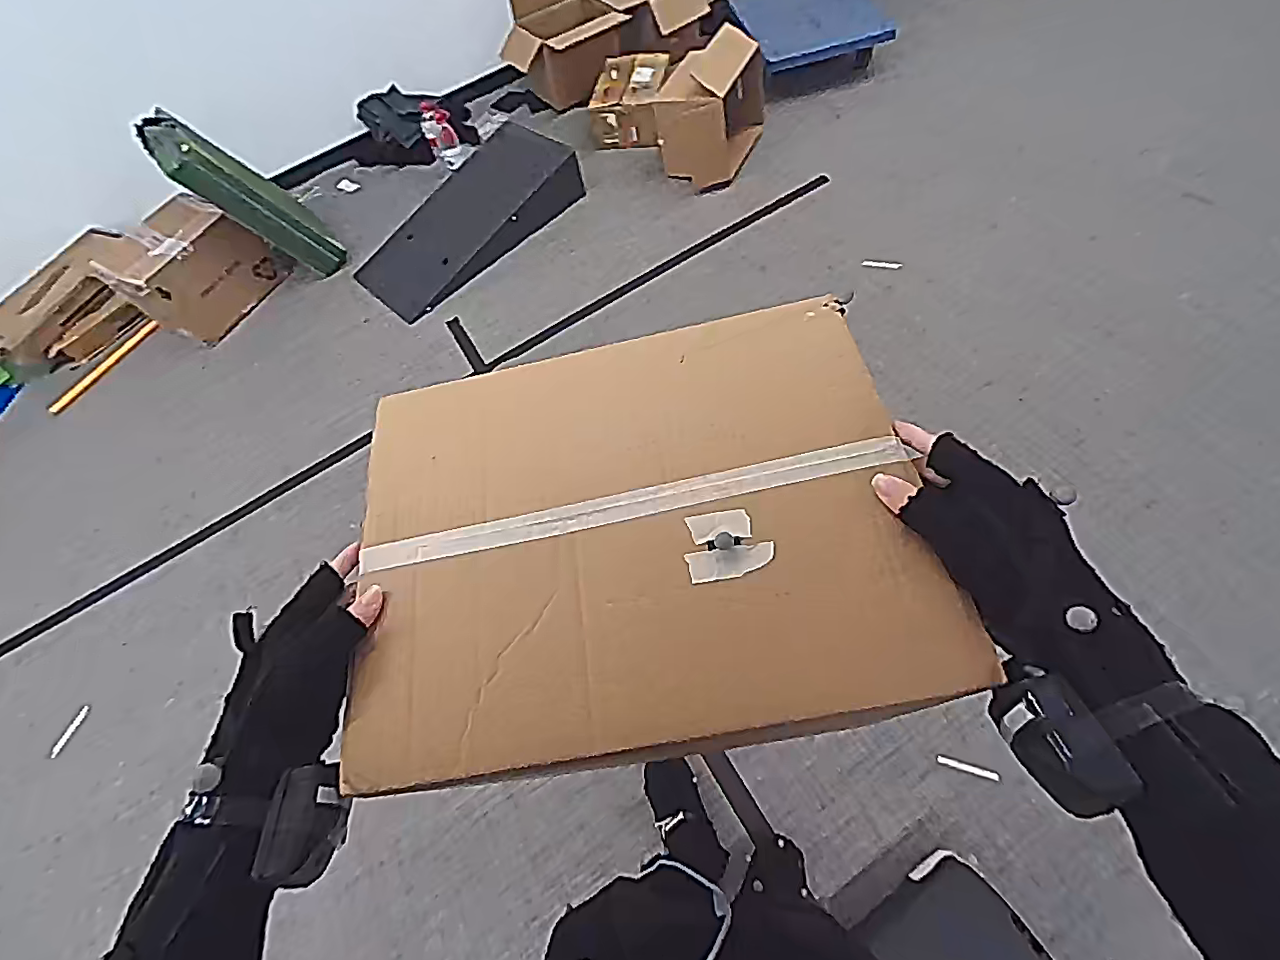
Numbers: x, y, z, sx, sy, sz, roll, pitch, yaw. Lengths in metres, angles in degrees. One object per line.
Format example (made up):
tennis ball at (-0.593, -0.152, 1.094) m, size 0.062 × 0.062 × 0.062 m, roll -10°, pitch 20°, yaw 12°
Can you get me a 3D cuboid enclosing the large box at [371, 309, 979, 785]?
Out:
large box at (0.015, 0.092, 0.541) m, size 0.408 × 0.320 × 0.320 m, roll -12°, pitch 62°, yaw 4°
